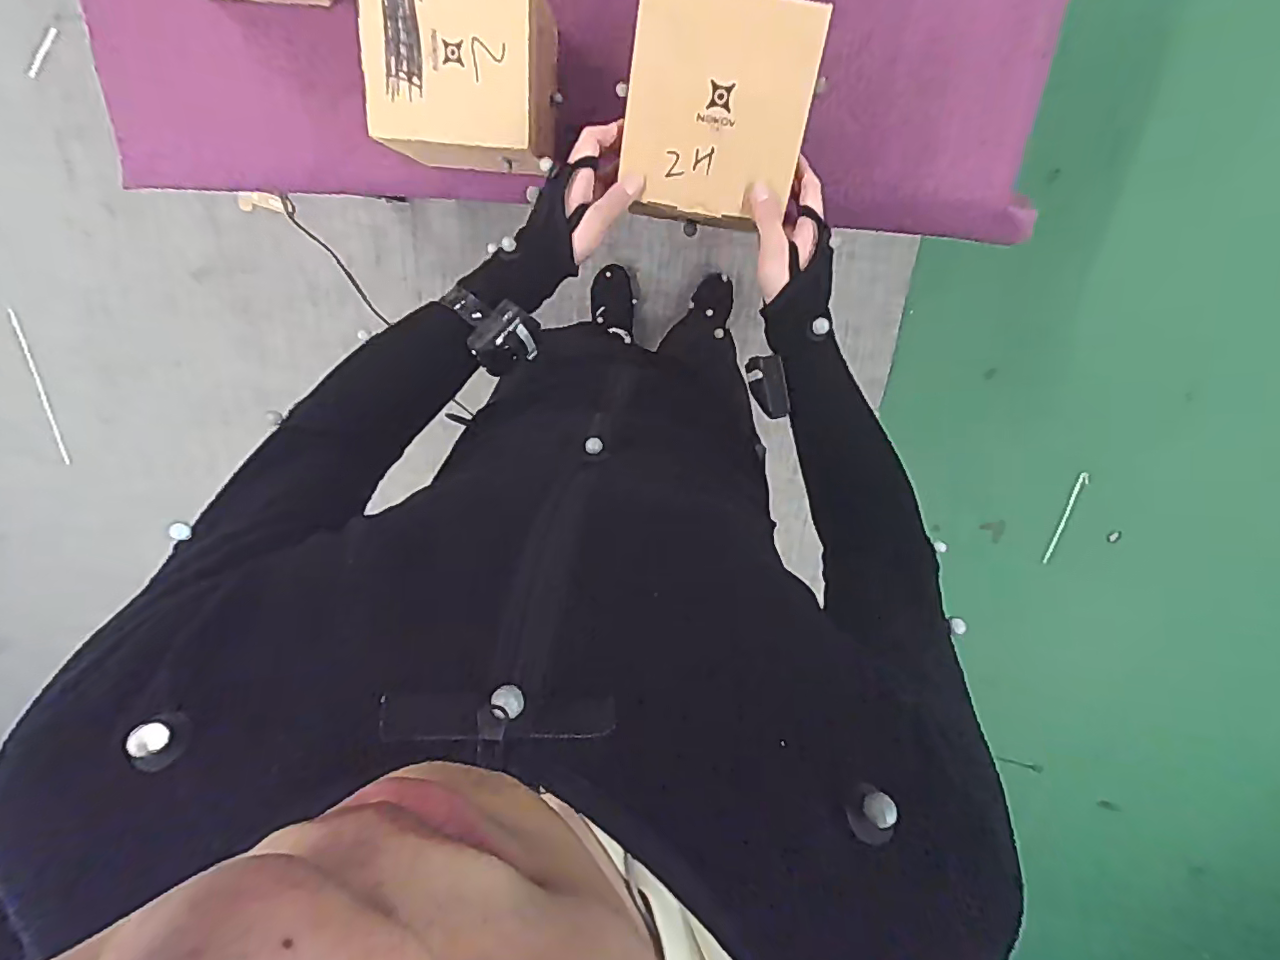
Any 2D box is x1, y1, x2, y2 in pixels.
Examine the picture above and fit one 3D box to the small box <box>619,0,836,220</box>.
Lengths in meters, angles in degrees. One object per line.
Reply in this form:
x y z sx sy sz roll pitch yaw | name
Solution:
0.076 -0.380 0.557 0.168 0.176 0.179 9 113 -1 | small box
